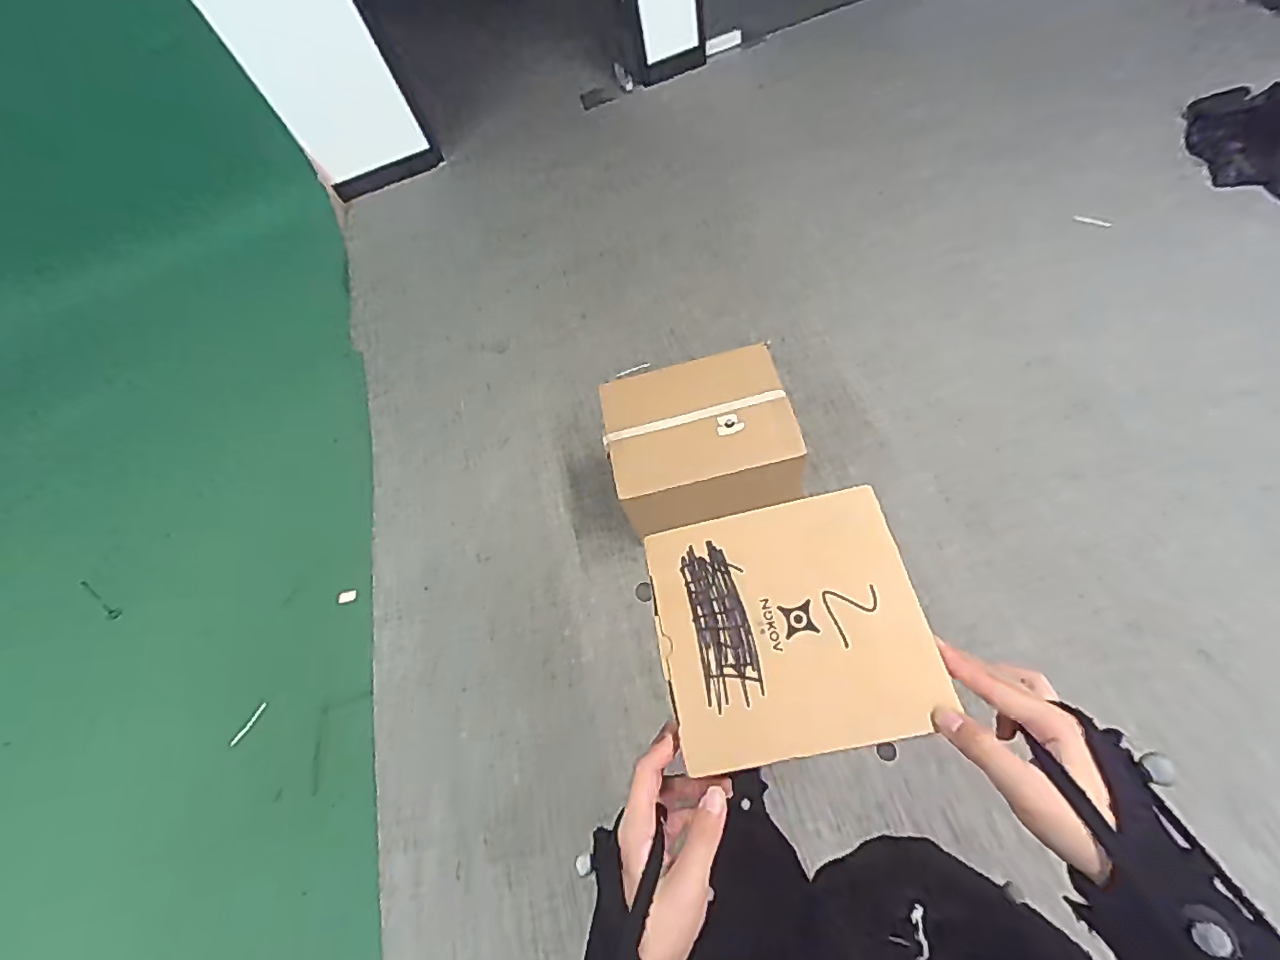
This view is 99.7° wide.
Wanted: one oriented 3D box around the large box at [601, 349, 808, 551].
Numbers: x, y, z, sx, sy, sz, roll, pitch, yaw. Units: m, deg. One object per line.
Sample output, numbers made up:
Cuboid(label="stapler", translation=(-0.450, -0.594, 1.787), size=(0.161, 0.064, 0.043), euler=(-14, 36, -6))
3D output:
Cuboid(label="large box", translation=(0.150, -0.059, 1.318), size=(0.408, 0.320, 0.320), euler=(-13, 62, 3))
